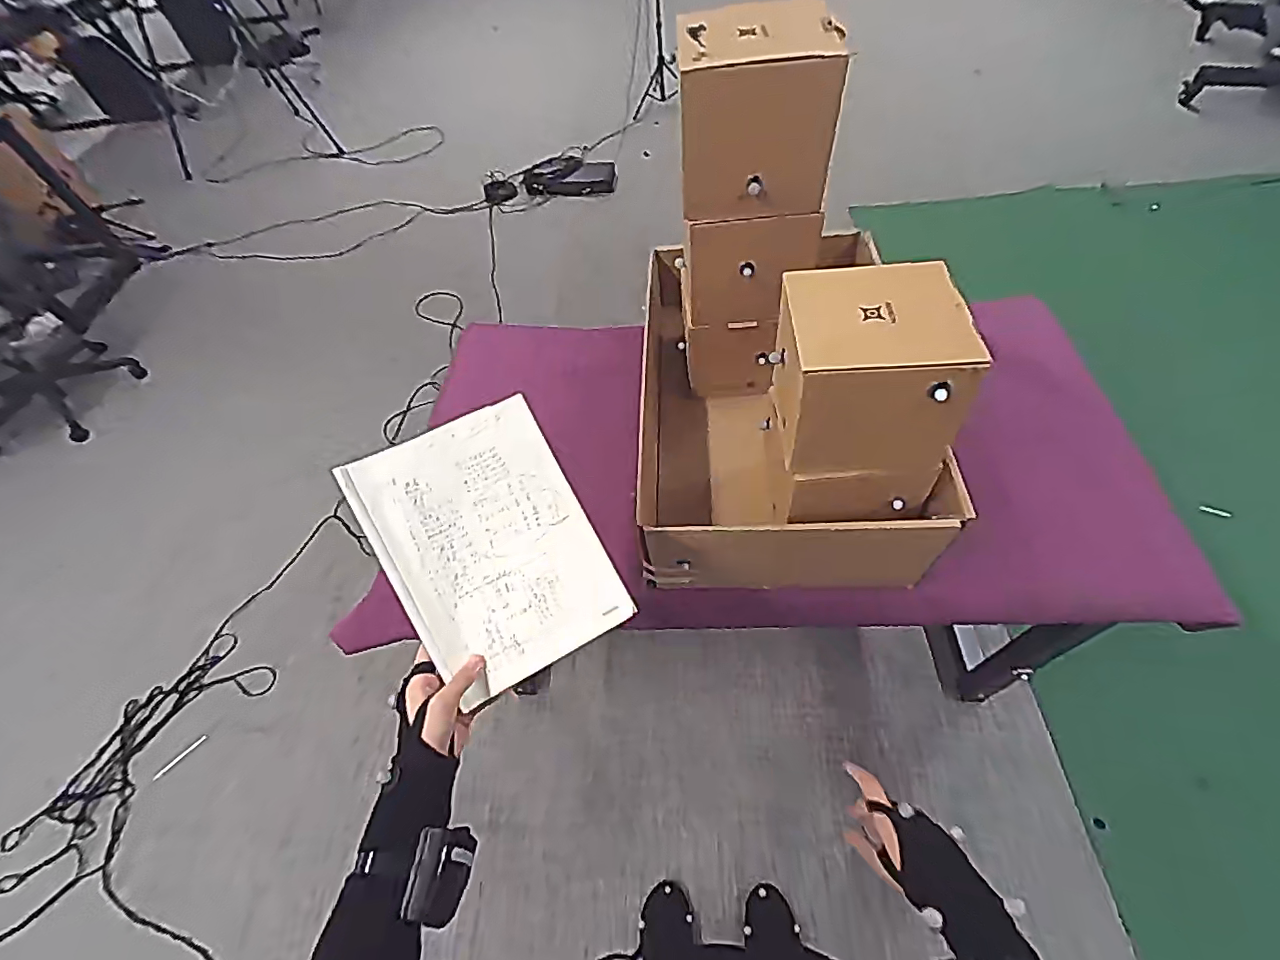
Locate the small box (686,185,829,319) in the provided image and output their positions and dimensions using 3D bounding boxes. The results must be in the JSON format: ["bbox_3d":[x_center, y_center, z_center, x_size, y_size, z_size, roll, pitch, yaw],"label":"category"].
[{"bbox_3d":[0.159,-0.359,0.796,0.179,0.176,0.168,-4,56,4],"label":"small box"}]

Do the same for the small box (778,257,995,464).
[{"bbox_3d":[0.256,-0.130,0.619,0.179,0.176,0.168,-1,54,6],"label":"small box"}]

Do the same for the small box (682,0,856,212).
[{"bbox_3d":[0.141,-0.453,0.662,0.179,0.176,0.168,-1,56,4],"label":"small box"}]
